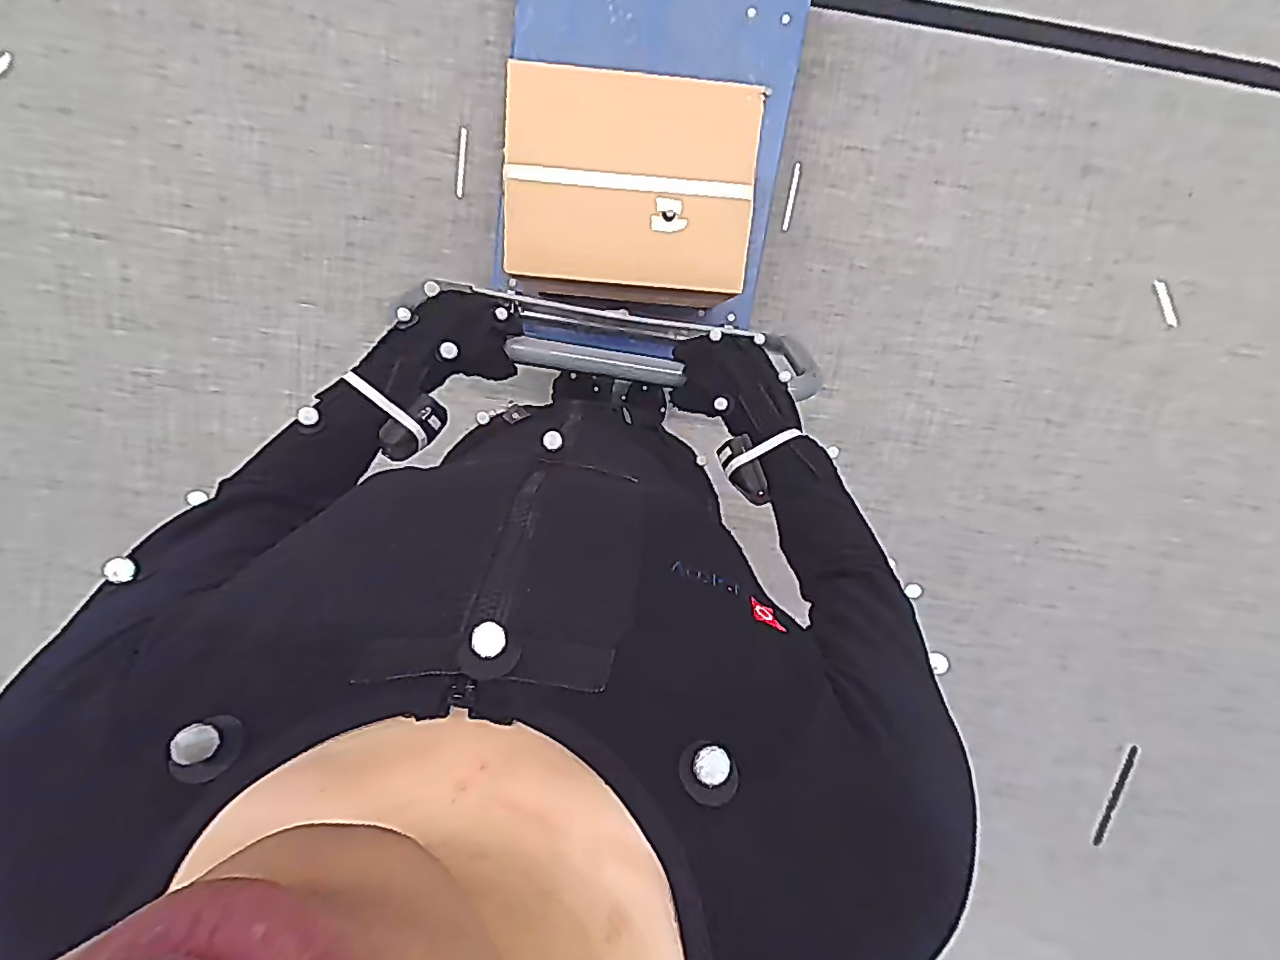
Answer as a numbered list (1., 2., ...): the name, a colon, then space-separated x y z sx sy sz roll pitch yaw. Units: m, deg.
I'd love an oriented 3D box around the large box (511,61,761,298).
1. large box: -0.019 -0.532 1.033 0.408 0.320 0.320 3 104 -3
